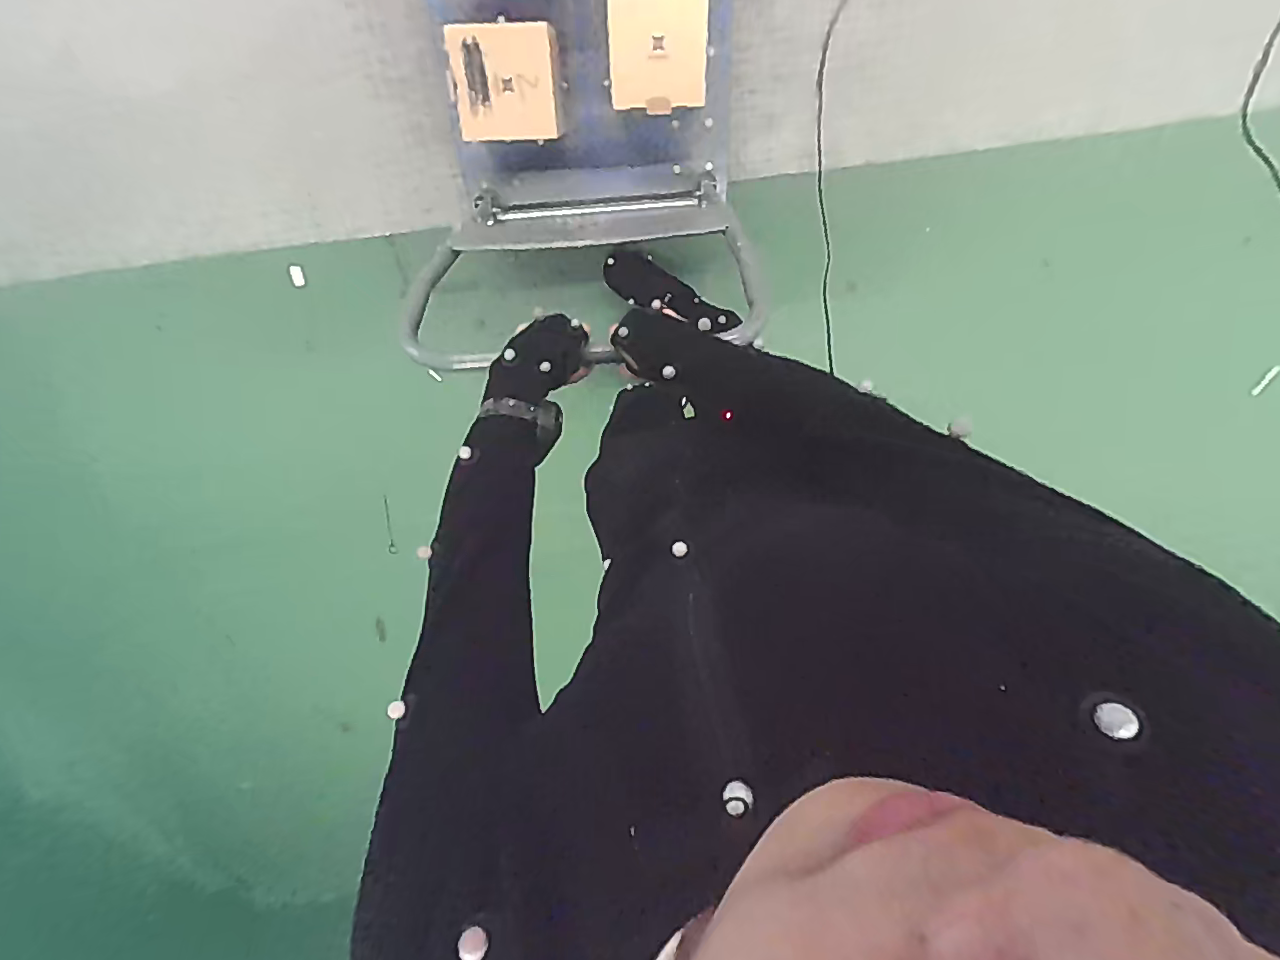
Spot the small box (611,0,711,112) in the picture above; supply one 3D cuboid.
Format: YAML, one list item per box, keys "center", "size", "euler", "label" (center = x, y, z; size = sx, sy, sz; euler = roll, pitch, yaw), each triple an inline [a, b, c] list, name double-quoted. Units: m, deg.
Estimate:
- center: [0.033, -0.772, 0.973]
  size: [0.168, 0.176, 0.179]
  euler: [-2, 127, 1]
  label: "small box"
